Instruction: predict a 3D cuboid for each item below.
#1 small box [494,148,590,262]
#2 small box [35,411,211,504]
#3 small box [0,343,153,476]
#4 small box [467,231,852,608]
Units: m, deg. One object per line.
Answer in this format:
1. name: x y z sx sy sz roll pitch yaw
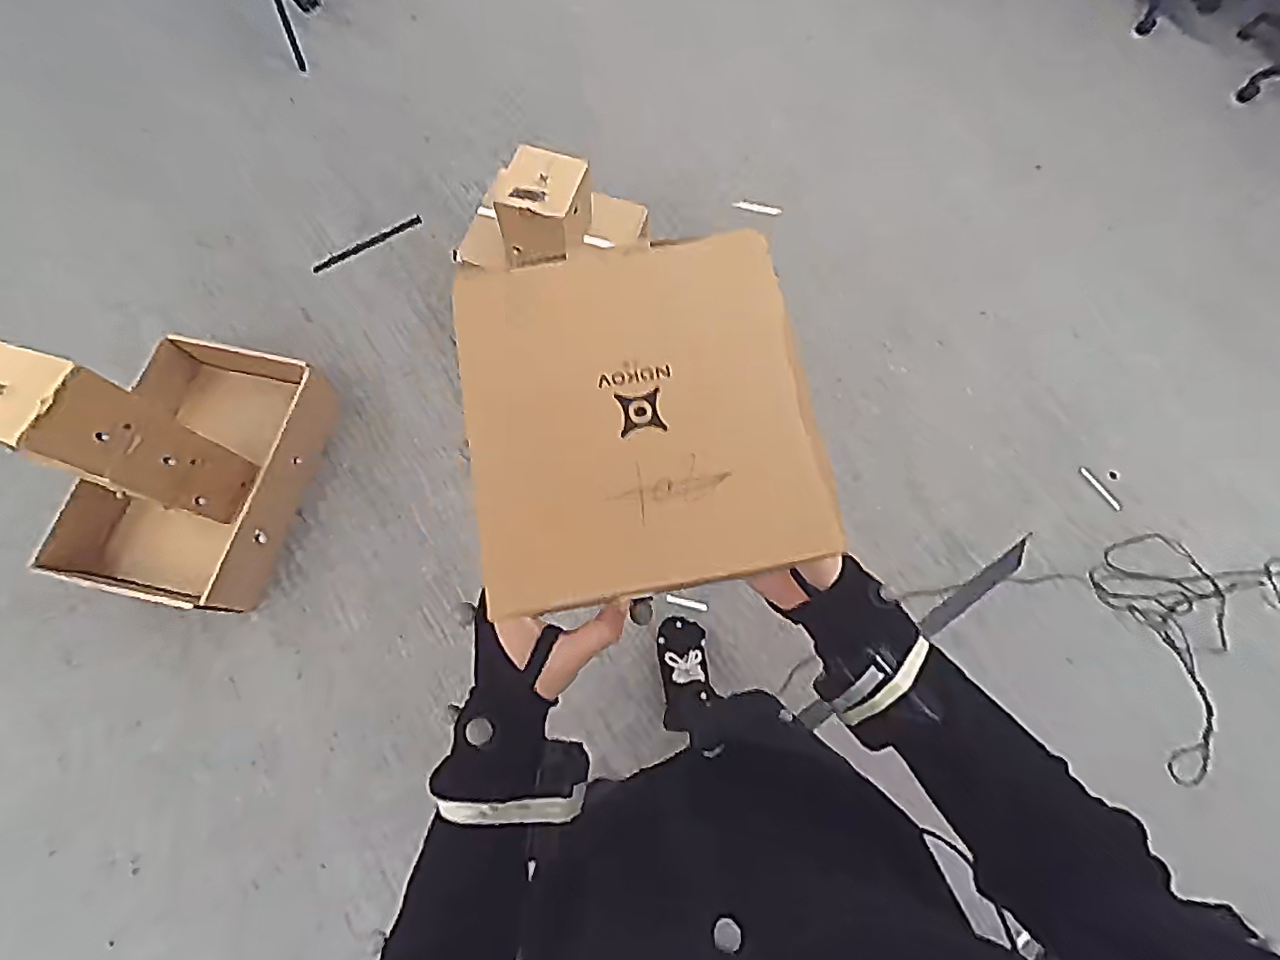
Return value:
1. small box: -0.219 -0.626 1.270 0.168 0.176 0.179 17 71 3
2. small box: -1.080 -0.061 1.150 0.179 0.176 0.168 16 71 3
3. small box: -1.081 -0.123 0.999 0.179 0.176 0.168 15 71 3
4. small box: 0.002 -0.020 0.343 0.168 0.176 0.179 -10 78 -4
